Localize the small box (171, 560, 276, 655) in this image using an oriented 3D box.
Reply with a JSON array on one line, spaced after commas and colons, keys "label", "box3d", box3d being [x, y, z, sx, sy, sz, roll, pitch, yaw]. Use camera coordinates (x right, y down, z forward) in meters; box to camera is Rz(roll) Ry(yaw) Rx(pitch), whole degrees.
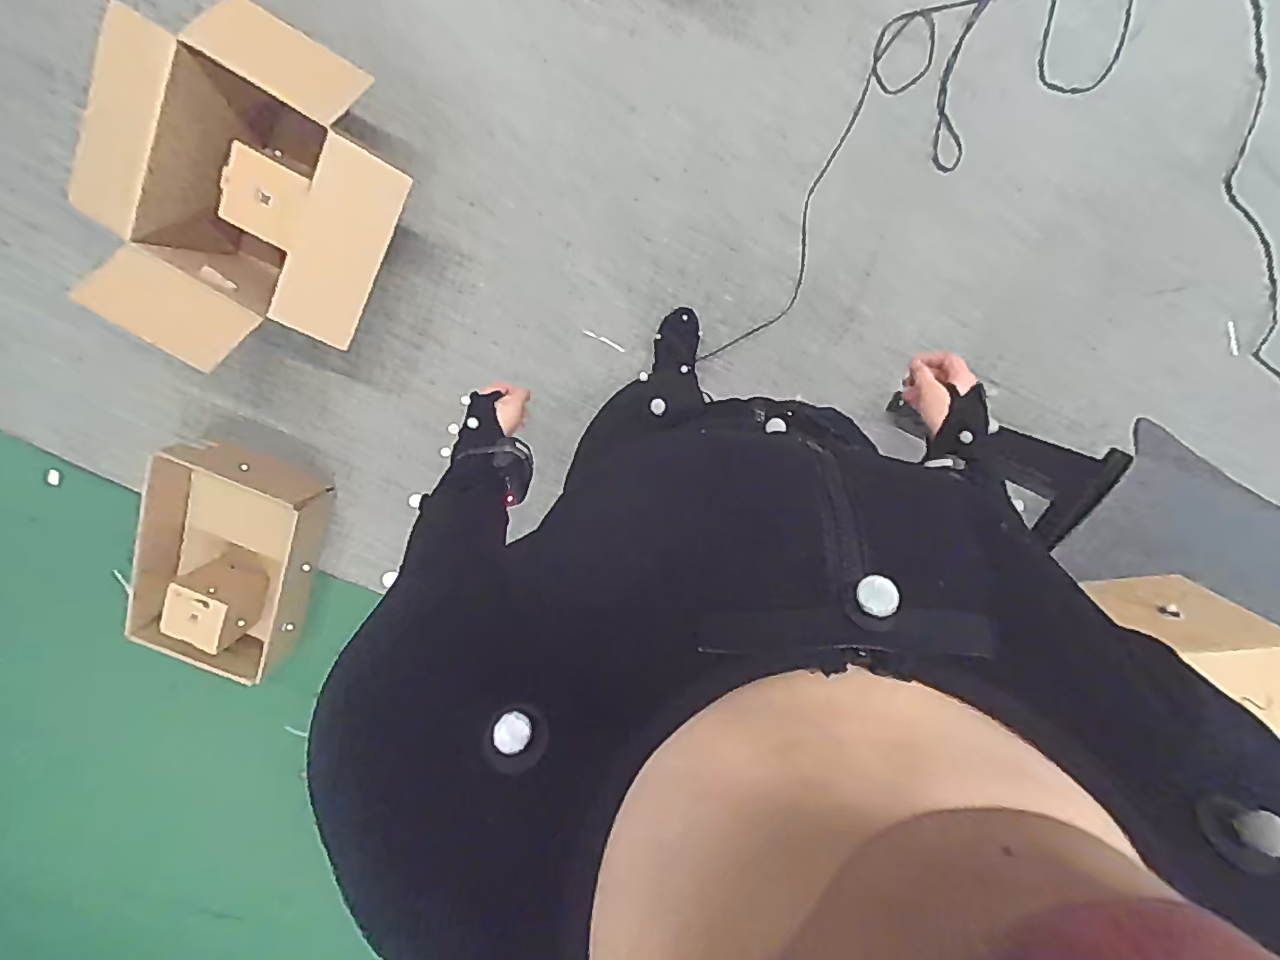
[{"label": "small box", "box3d": [-1.198, 0.363, 1.566, 0.168, 0.176, 0.179, 24, 107, -2]}]
